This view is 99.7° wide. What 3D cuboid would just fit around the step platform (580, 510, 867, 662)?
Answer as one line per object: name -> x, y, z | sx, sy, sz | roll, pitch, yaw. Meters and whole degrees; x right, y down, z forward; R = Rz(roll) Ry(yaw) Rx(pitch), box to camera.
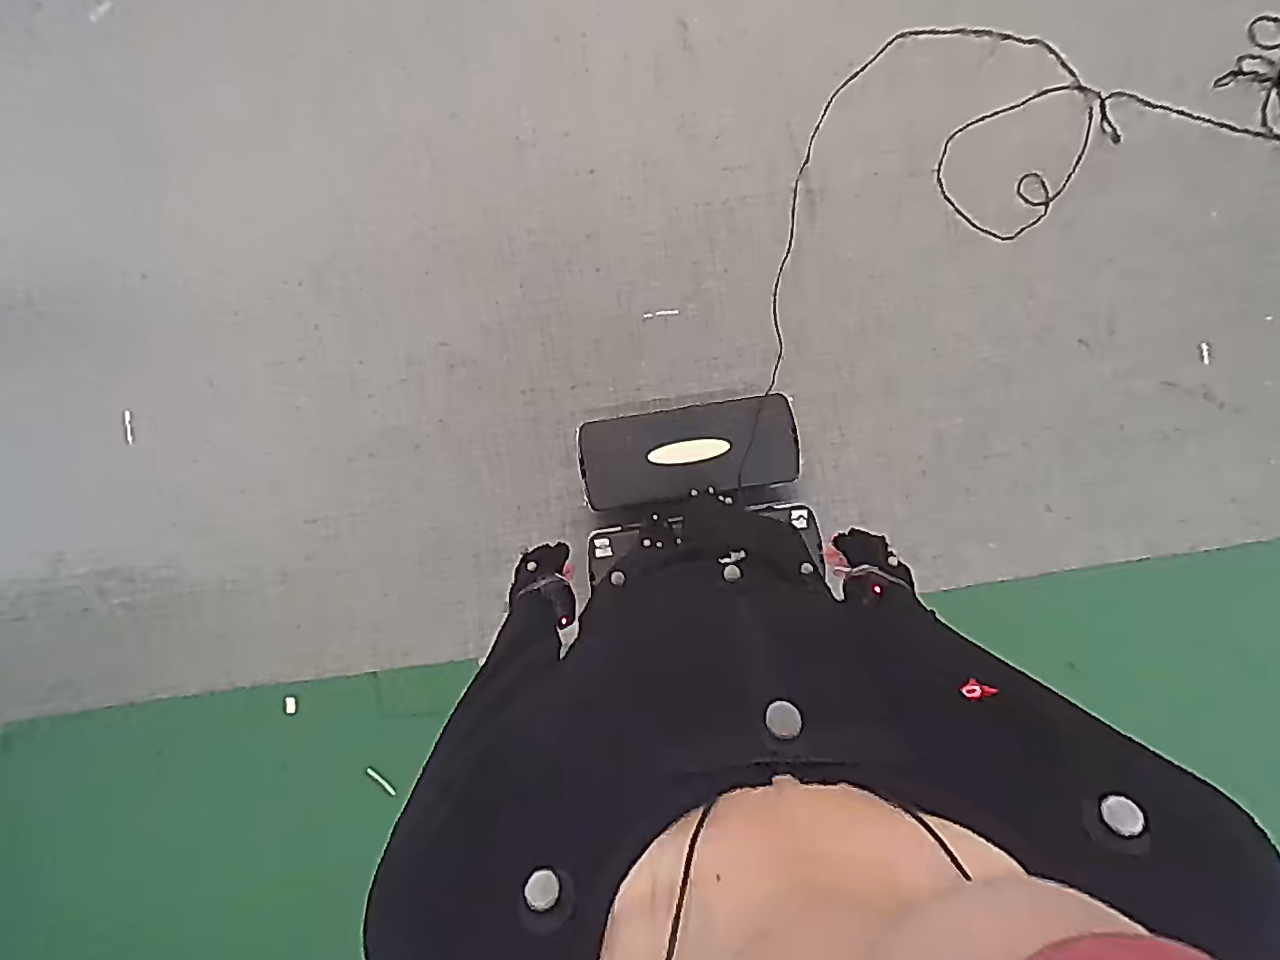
step platform -> 0.198, 0.260, 1.383 | 0.684, 0.204, 0.286 | -8, 87, -1
